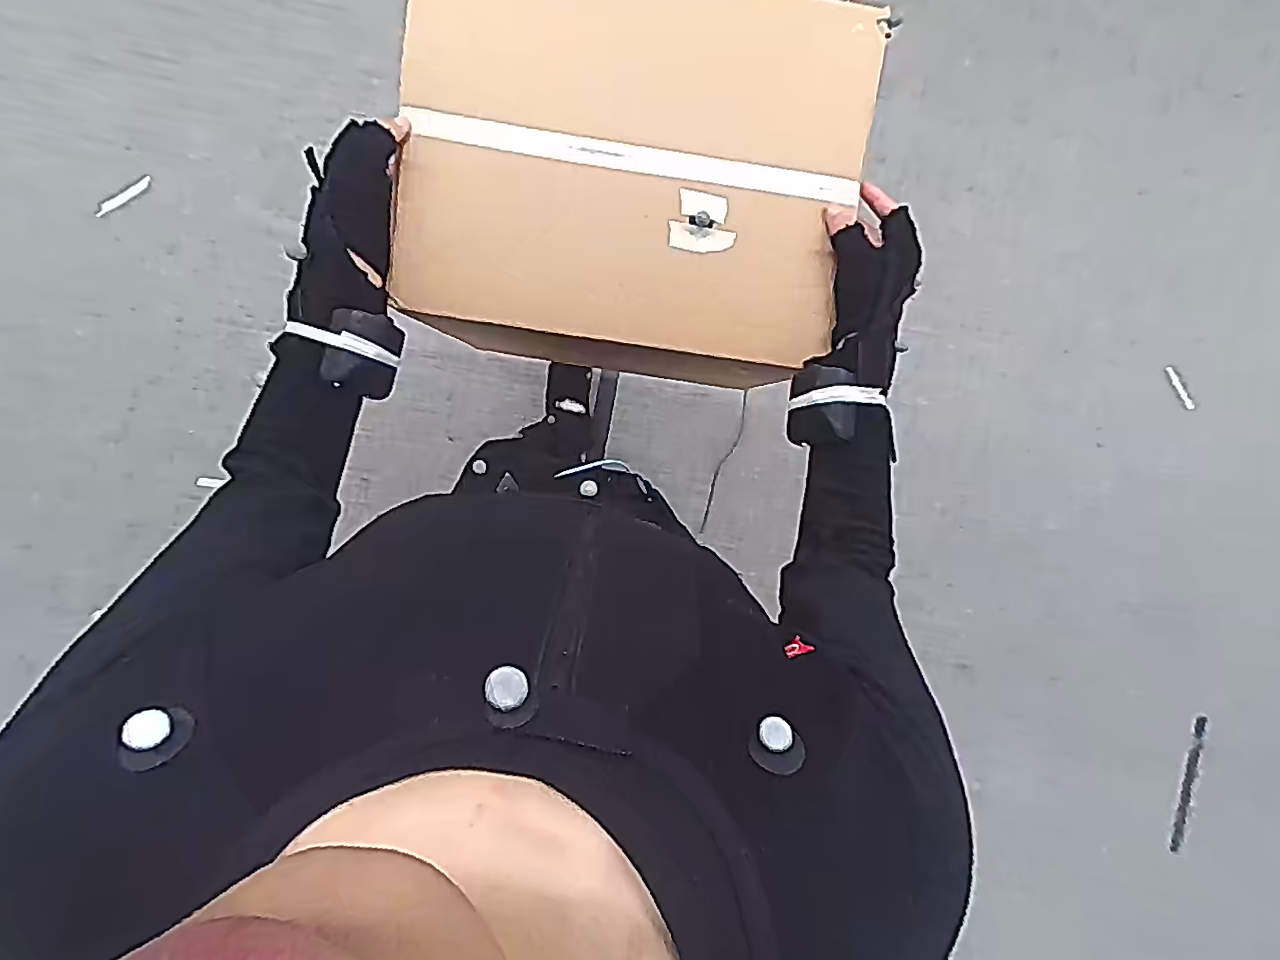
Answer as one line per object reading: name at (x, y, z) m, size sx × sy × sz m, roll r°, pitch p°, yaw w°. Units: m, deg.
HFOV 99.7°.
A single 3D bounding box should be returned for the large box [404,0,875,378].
large box at (-0.011, -0.309, 0.637) m, size 0.408 × 0.320 × 0.320 m, roll 8°, pitch 97°, yaw -4°
